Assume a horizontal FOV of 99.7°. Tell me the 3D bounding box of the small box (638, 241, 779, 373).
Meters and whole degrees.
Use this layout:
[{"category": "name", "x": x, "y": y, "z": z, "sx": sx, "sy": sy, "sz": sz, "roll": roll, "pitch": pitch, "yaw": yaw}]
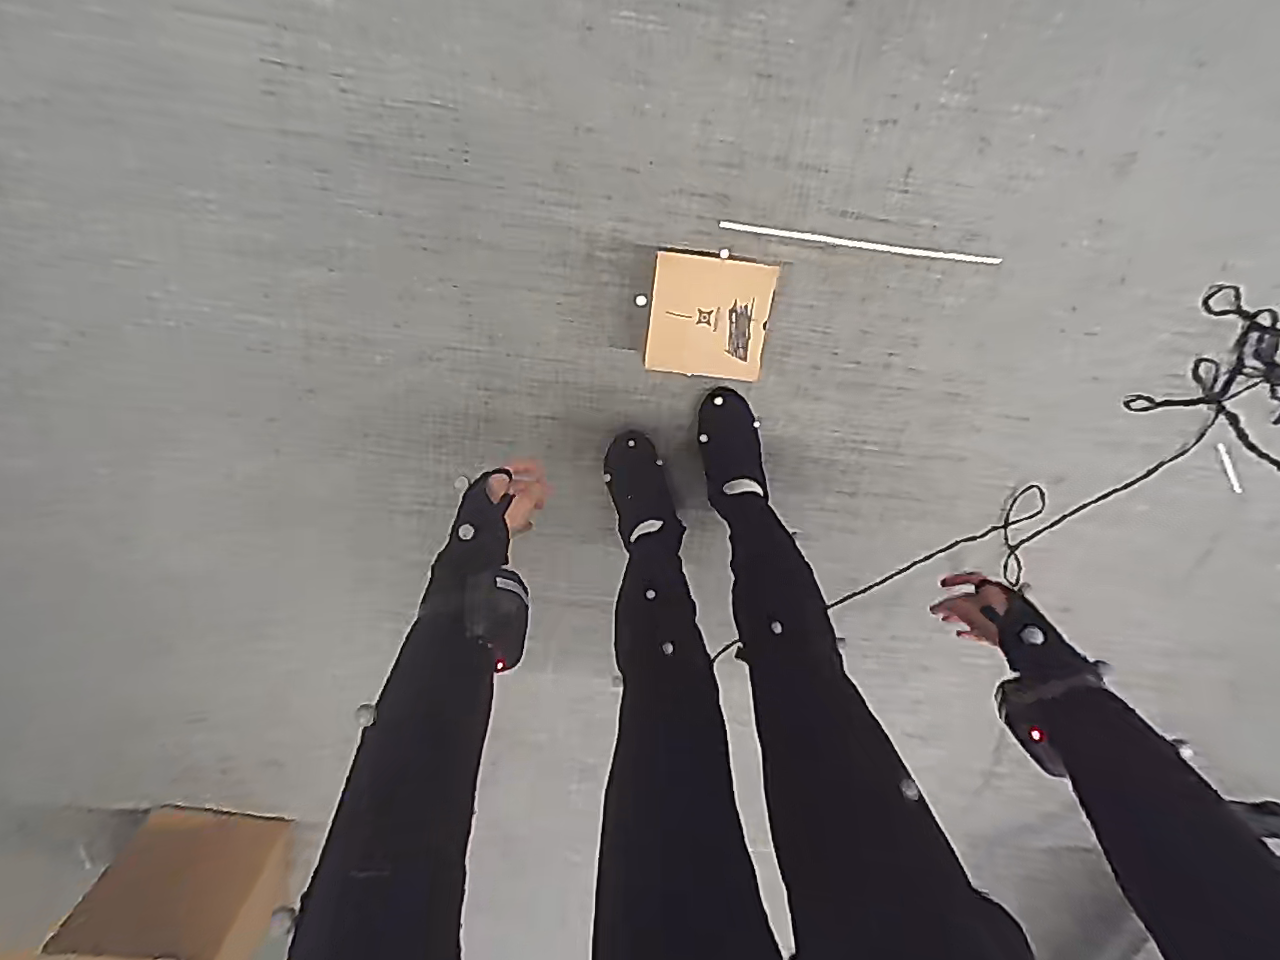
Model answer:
[{"category": "small box", "x": 0.094, "y": -0.274, "z": 0.844, "sx": 0.179, "sy": 0.176, "sz": 0.168, "roll": 6, "pitch": 112, "yaw": -4}]
